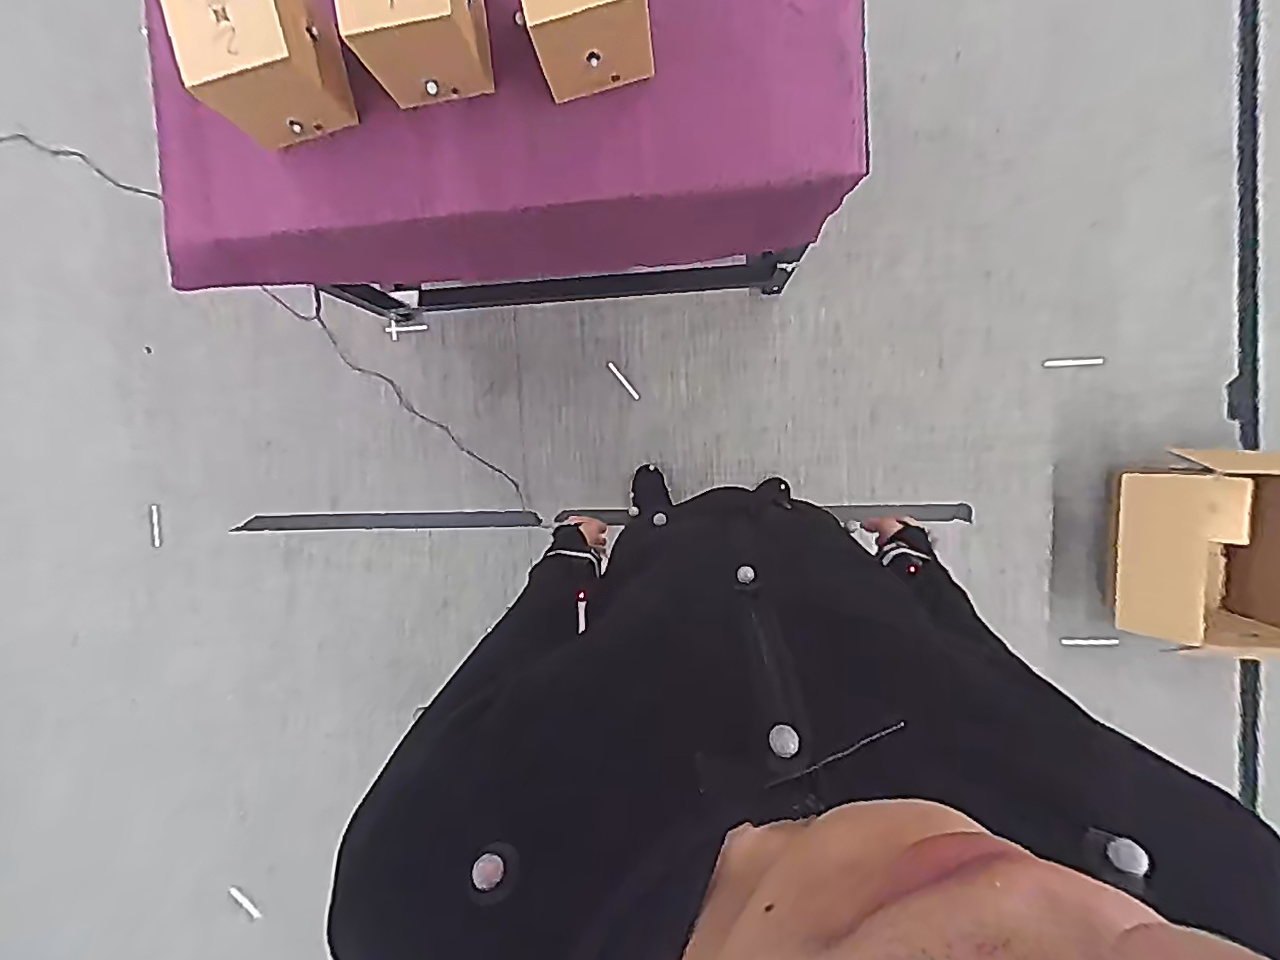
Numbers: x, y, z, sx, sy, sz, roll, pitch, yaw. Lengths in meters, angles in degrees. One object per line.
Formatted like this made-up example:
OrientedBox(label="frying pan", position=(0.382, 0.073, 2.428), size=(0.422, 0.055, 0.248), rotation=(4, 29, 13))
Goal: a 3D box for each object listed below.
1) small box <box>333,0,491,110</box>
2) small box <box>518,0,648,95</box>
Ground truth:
OrientedBox(label="small box", position=(-0.339, -0.709, 0.817), size=(0.168, 0.176, 0.179), rotation=(-7, 94, 6))
OrientedBox(label="small box", position=(-0.087, -0.709, 0.794), size=(0.168, 0.176, 0.179), rotation=(-12, 92, 5))
